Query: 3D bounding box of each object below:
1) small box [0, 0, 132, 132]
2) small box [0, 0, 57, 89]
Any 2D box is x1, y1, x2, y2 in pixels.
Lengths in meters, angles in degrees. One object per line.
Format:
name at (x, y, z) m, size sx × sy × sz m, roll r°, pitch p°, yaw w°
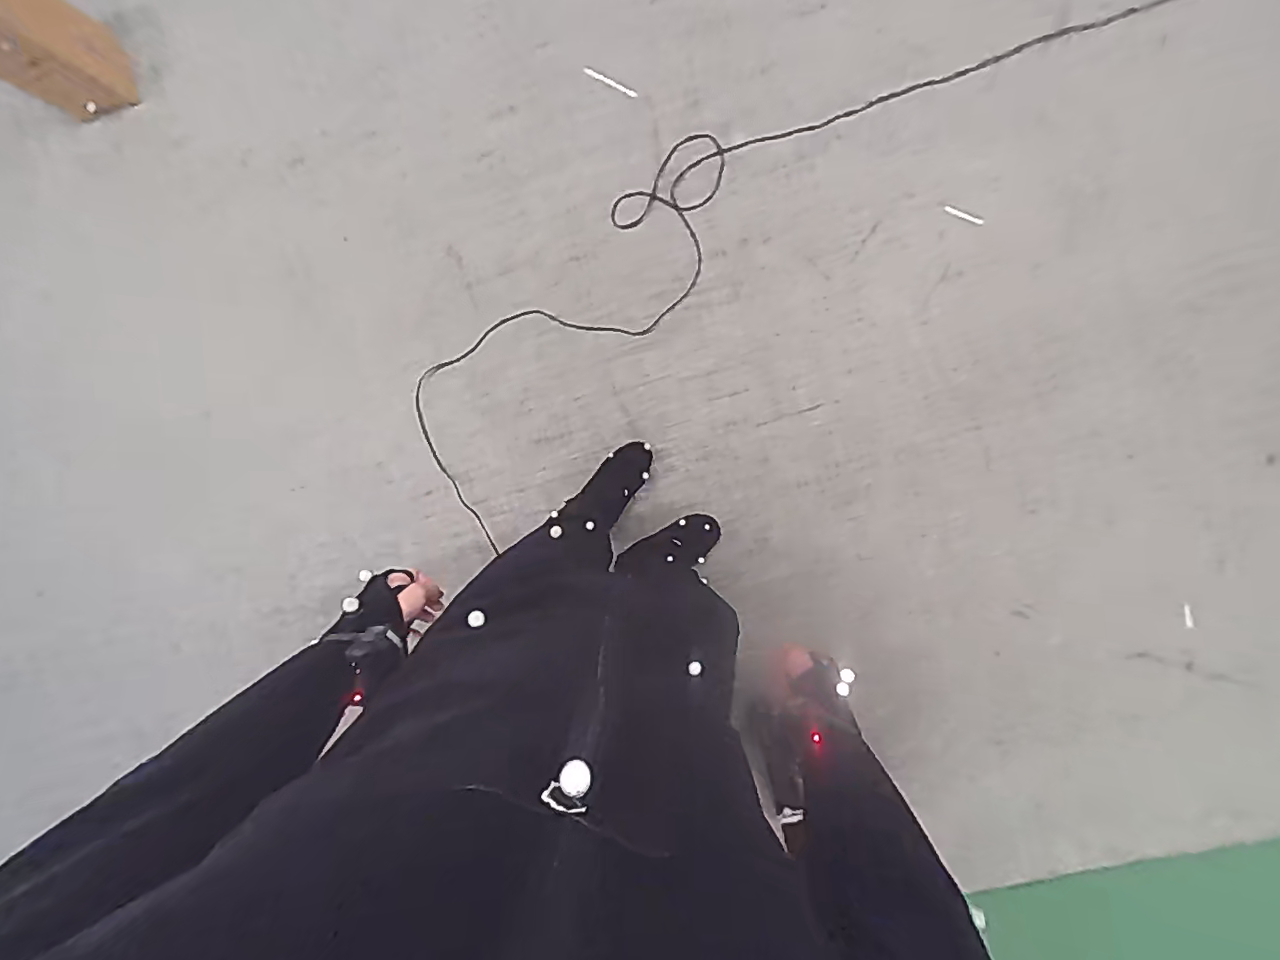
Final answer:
small box at (-1.399, -0.991, 1.301) m, size 0.168 × 0.176 × 0.179 m, roll -16°, pitch 95°, yaw 6°
small box at (-1.411, -0.973, 1.141) m, size 0.168 × 0.176 × 0.179 m, roll -17°, pitch 93°, yaw 5°
